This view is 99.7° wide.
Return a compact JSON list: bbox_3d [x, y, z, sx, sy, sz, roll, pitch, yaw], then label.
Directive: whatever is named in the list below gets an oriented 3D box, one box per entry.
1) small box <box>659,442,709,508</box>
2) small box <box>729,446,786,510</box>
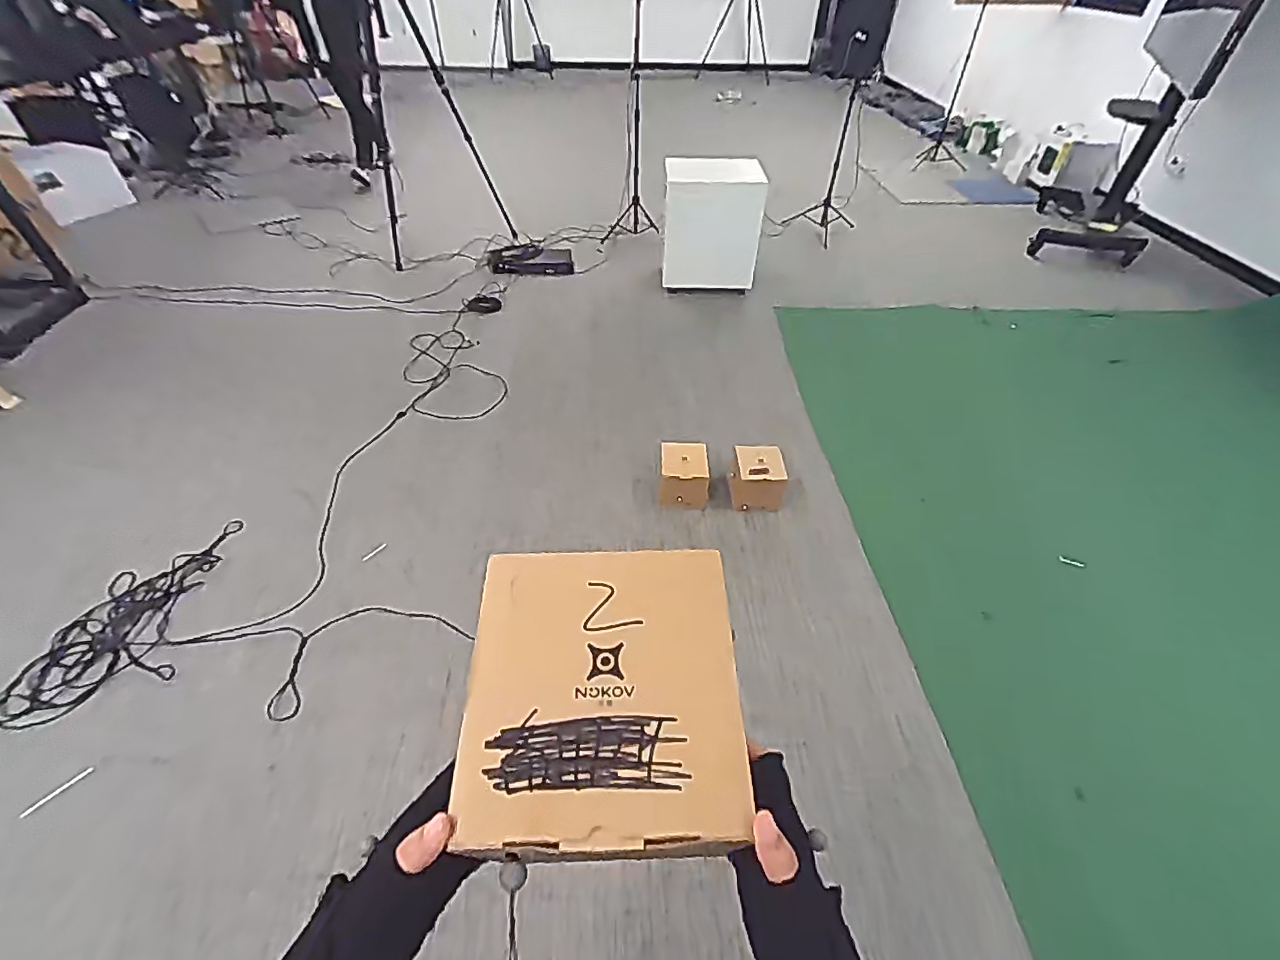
[{"bbox_3d":[0.155,-0.017,1.979,0.168,0.176,0.179,1,46,-1],"label":"small box"},{"bbox_3d":[0.424,-0.006,1.976,0.168,0.176,0.179,1,45,-1],"label":"small box"}]
